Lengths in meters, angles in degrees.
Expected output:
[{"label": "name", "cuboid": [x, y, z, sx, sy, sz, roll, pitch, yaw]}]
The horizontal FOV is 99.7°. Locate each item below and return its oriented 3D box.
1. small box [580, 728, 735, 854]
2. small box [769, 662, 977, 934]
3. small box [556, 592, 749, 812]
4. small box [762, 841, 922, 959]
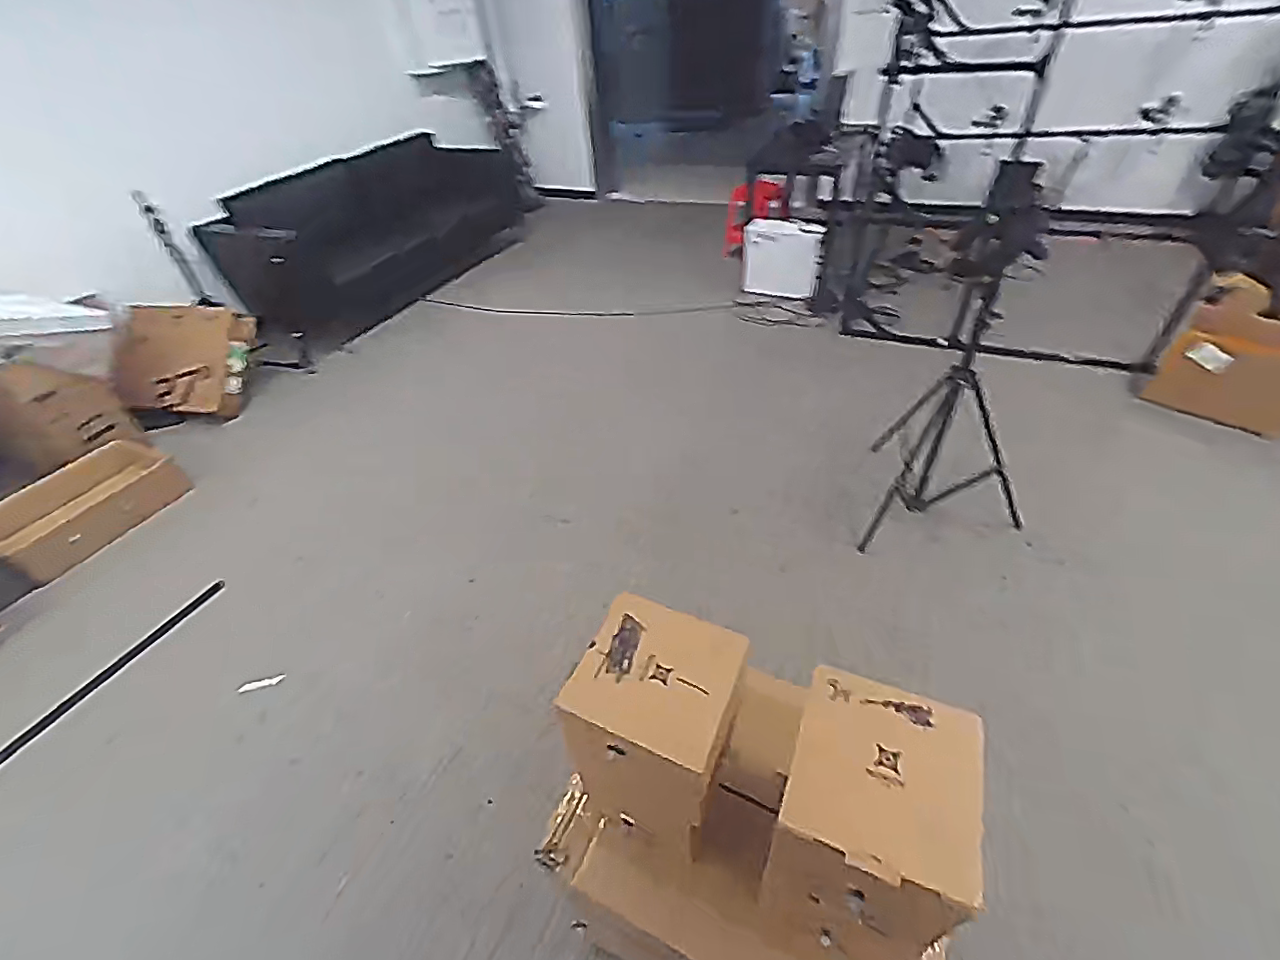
[{"label": "small box", "cuboid": [0.034, 0.394, 0.784, 0.168, 0.176, 0.179, 15, 47, 22]}, {"label": "small box", "cuboid": [0.240, 0.335, 0.575, 0.168, 0.176, 0.179, 13, 46, 22]}, {"label": "small box", "cuboid": [0.023, 0.275, 0.672, 0.179, 0.176, 0.168, 15, 46, 21]}, {"label": "small box", "cuboid": [0.256, 0.458, 0.681, 0.168, 0.176, 0.179, 14, 46, 24]}]
